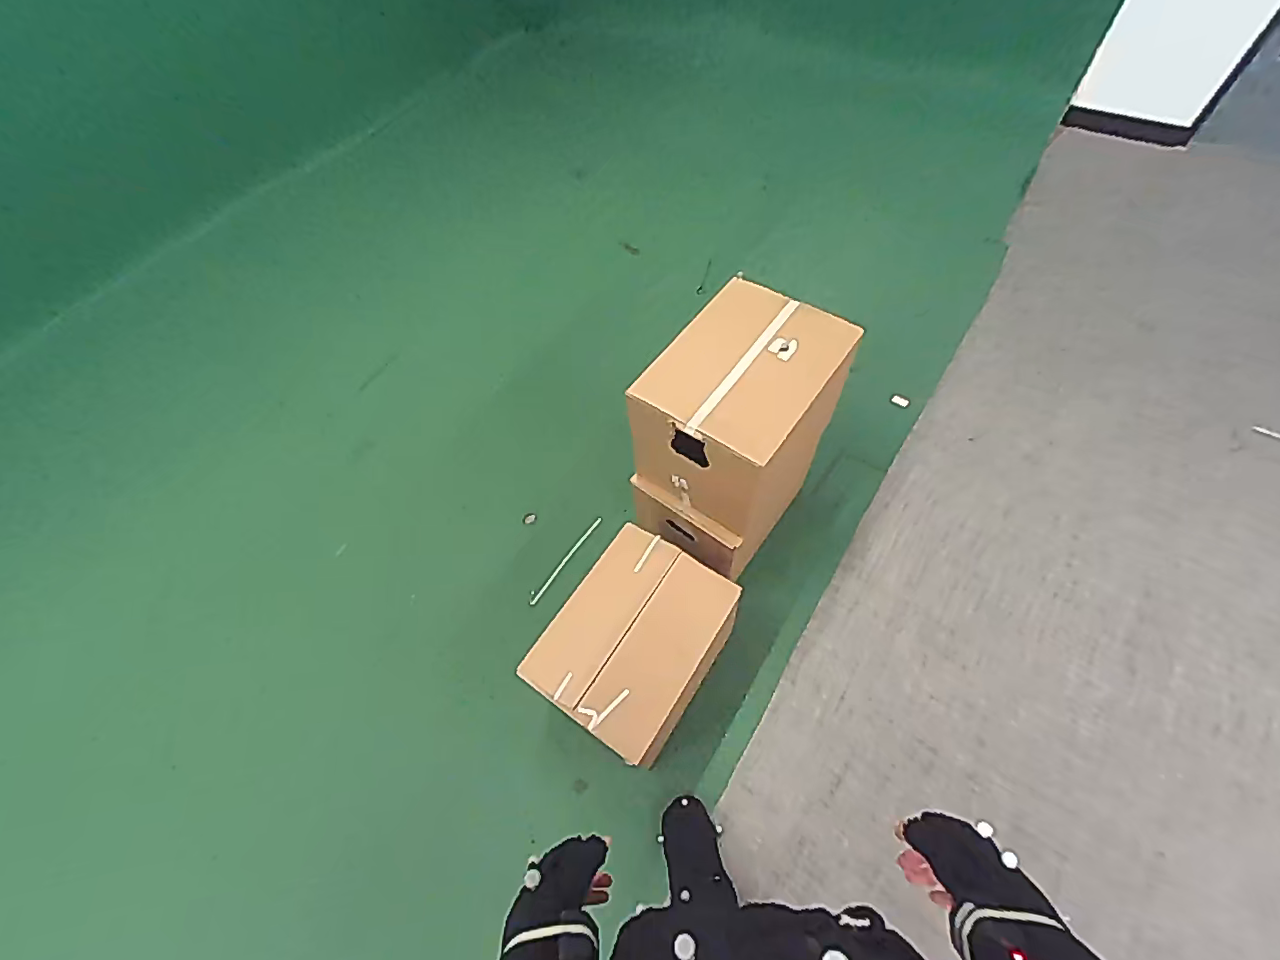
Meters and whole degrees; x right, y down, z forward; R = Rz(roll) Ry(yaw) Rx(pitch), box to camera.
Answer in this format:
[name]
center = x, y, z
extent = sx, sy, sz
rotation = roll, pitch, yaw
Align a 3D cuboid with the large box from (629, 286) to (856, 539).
[large box]
center = 0.219, -0.149, 1.212
extent = 0.320, 0.320, 0.408
rotation = 32, 65, 20
